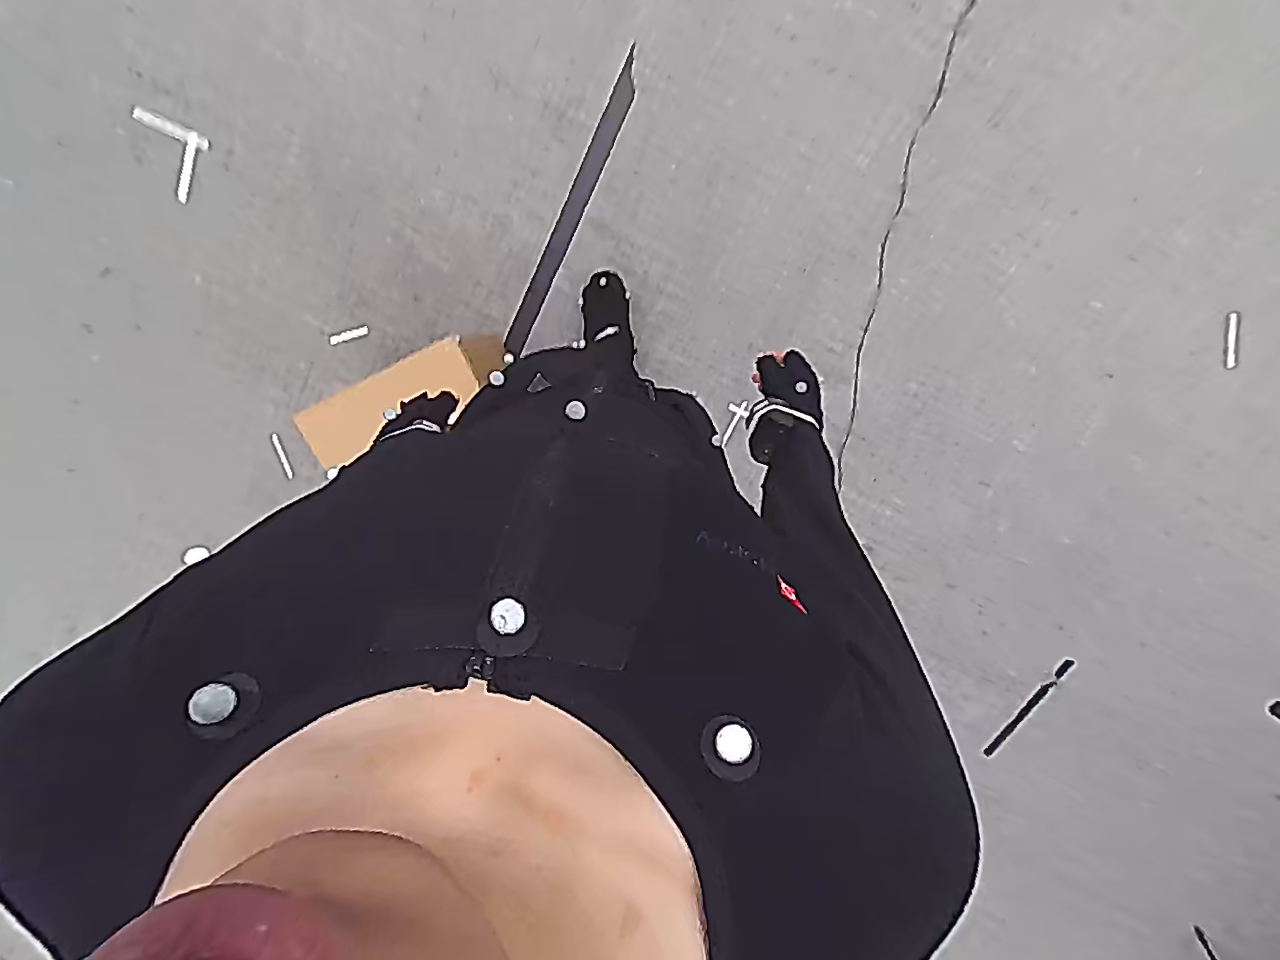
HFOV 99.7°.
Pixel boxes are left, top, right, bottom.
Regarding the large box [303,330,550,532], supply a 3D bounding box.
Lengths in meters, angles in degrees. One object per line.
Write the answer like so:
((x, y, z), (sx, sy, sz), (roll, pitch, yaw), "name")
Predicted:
((-0.485, -0.132, 1.313), (0.408, 0.320, 0.320), (-25, 105, 7), "large box")
